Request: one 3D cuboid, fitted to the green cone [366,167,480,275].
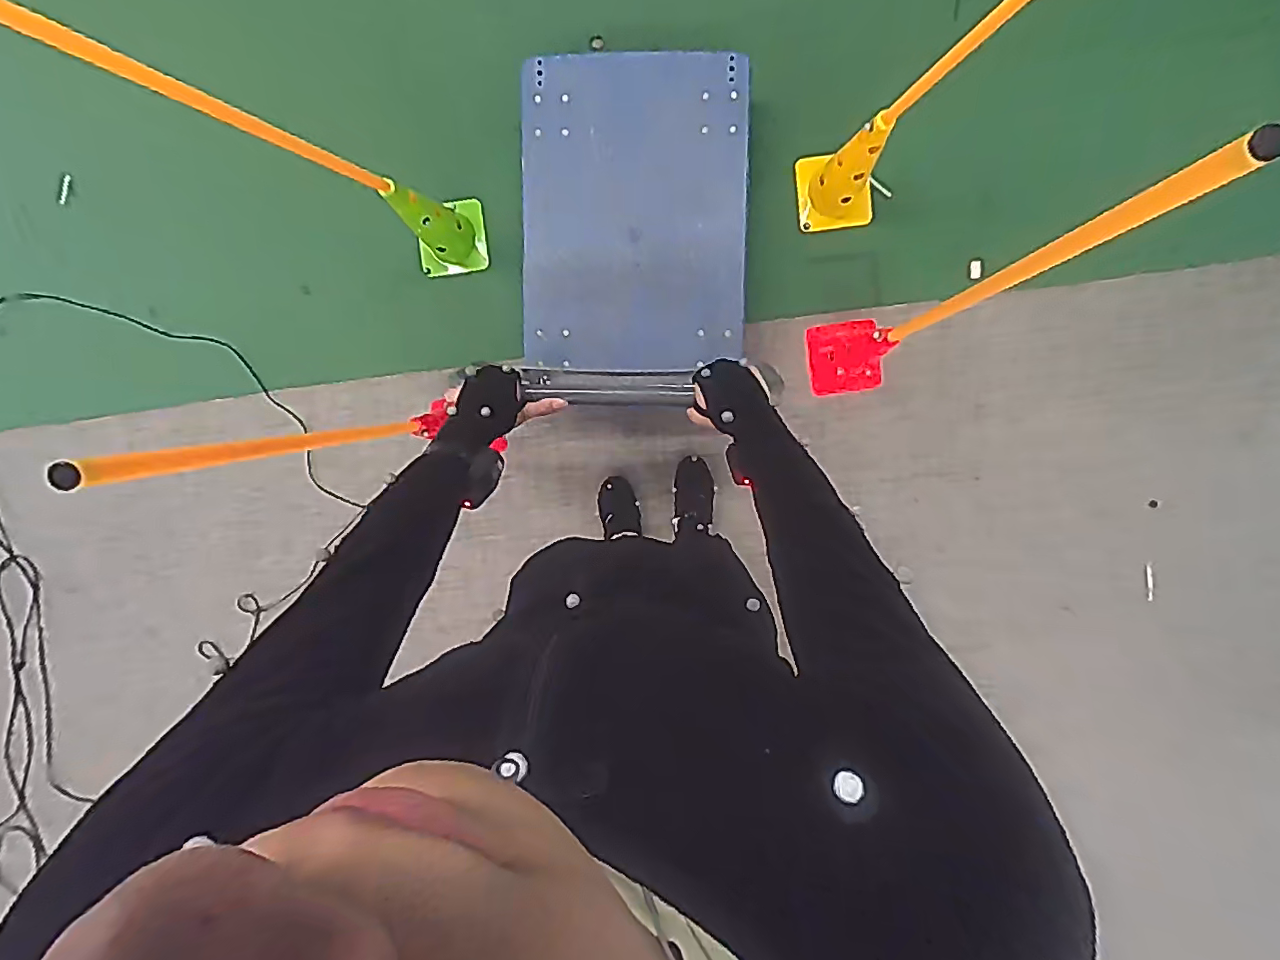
[{"bbox_3d":[-0.574,-0.684,1.377,0.200,0.368,0.202,-7,94,4],"label":"green cone"}]

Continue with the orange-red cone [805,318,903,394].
[{"bbox_3d":[0.564,-0.337,1.356,0.198,0.360,0.199,-7,93,3],"label":"orange-red cone"}]
